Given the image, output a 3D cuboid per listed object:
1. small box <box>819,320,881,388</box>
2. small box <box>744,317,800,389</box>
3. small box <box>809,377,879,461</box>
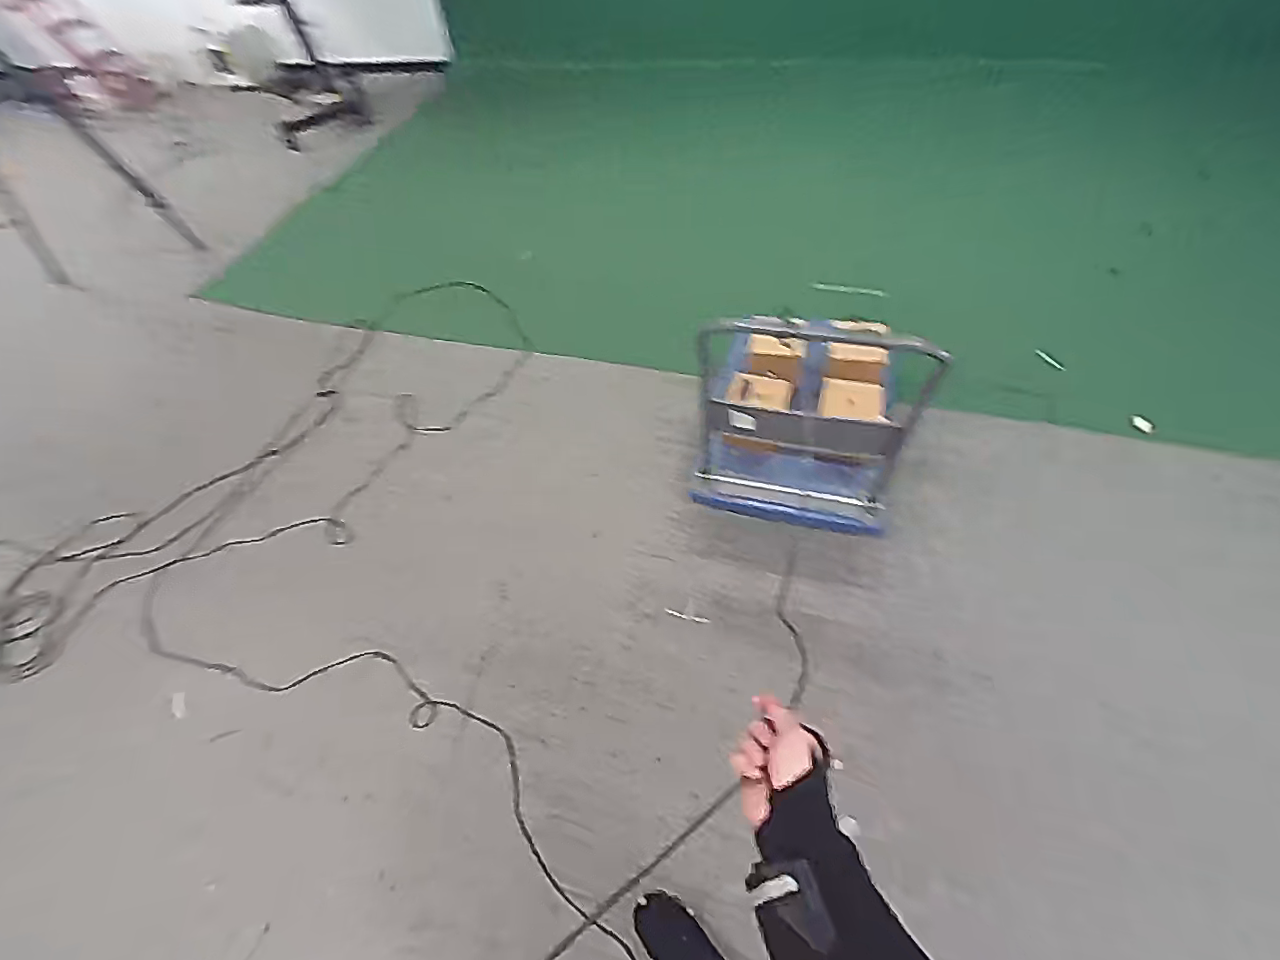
[{"bbox_3d":[0.692,-0.404,1.789,0.168,0.176,0.179,6,58,13],"label":"small box"},{"bbox_3d":[0.448,-0.430,1.842,0.168,0.176,0.179,7,57,12],"label":"small box"},{"bbox_3d":[0.618,-0.185,1.649,0.168,0.176,0.179,11,59,15],"label":"small box"}]
